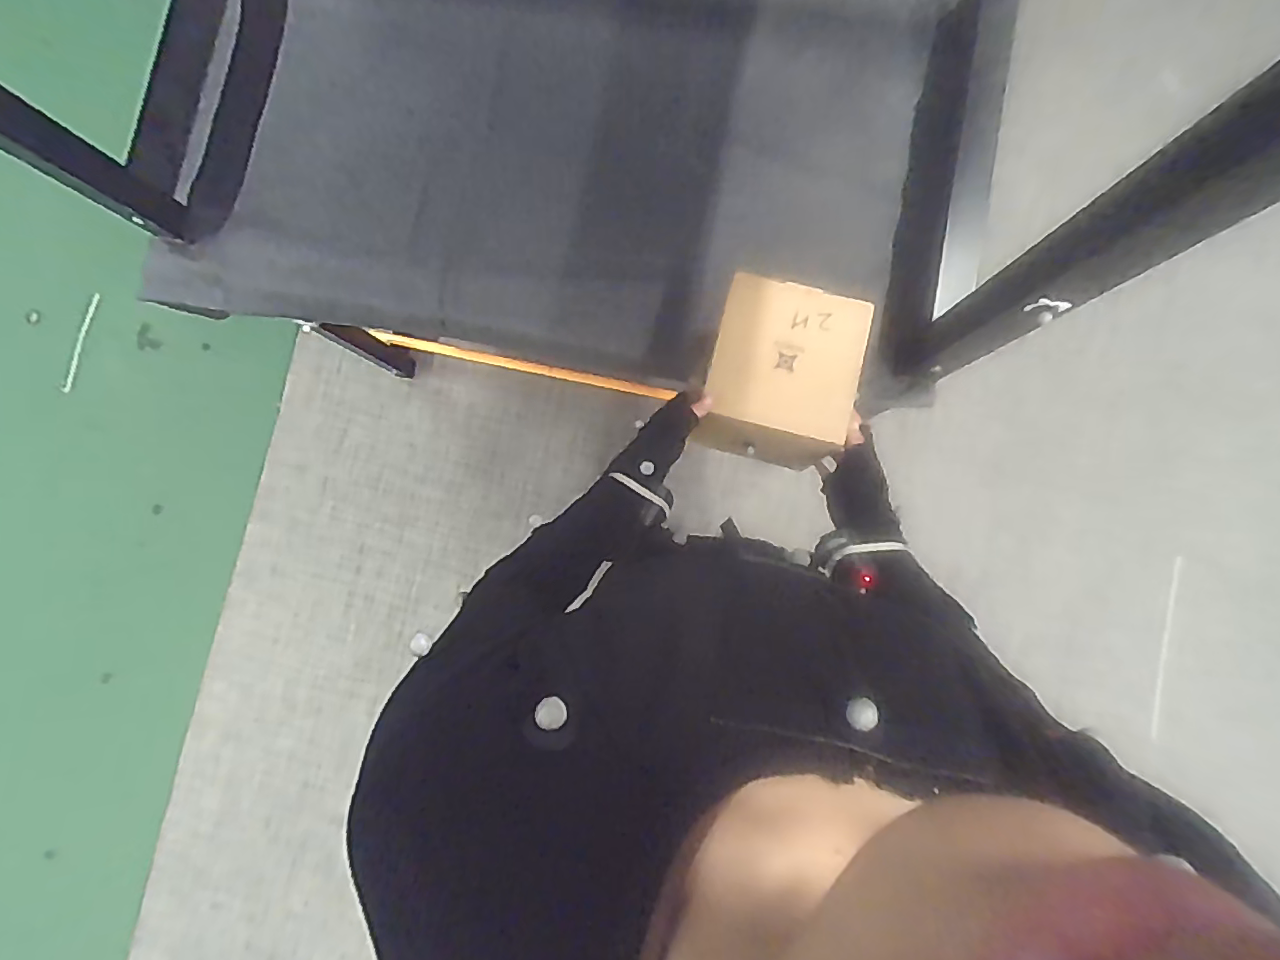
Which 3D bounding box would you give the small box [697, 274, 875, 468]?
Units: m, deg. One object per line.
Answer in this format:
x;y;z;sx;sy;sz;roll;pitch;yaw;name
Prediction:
0.172;-0.125;0.690;0.168;0.176;0.179;15;81;3;small box
